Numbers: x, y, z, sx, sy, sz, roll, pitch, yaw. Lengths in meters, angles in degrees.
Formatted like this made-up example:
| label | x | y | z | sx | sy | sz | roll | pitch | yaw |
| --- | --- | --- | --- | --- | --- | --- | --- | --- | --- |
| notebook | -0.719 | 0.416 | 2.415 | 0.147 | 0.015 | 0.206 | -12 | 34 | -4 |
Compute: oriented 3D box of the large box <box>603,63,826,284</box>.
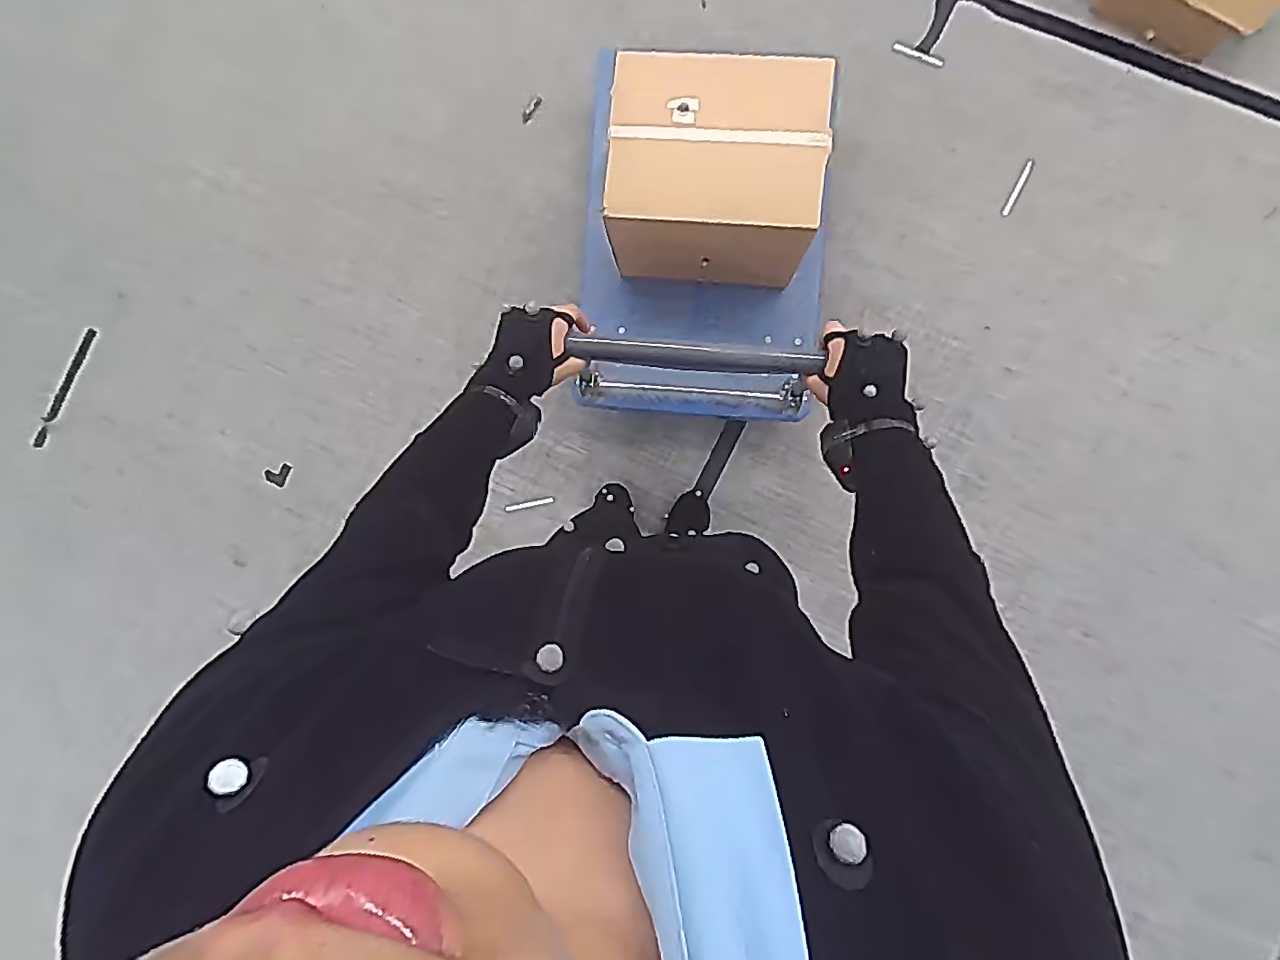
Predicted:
| label | x | y | z | sx | sy | sz | roll | pitch | yaw |
| --- | --- | --- | --- | --- | --- | --- | --- | --- | --- |
| large box | 0.153 | -0.632 | 1.164 | 0.408 | 0.320 | 0.320 | 5 | 90 | 5 |
